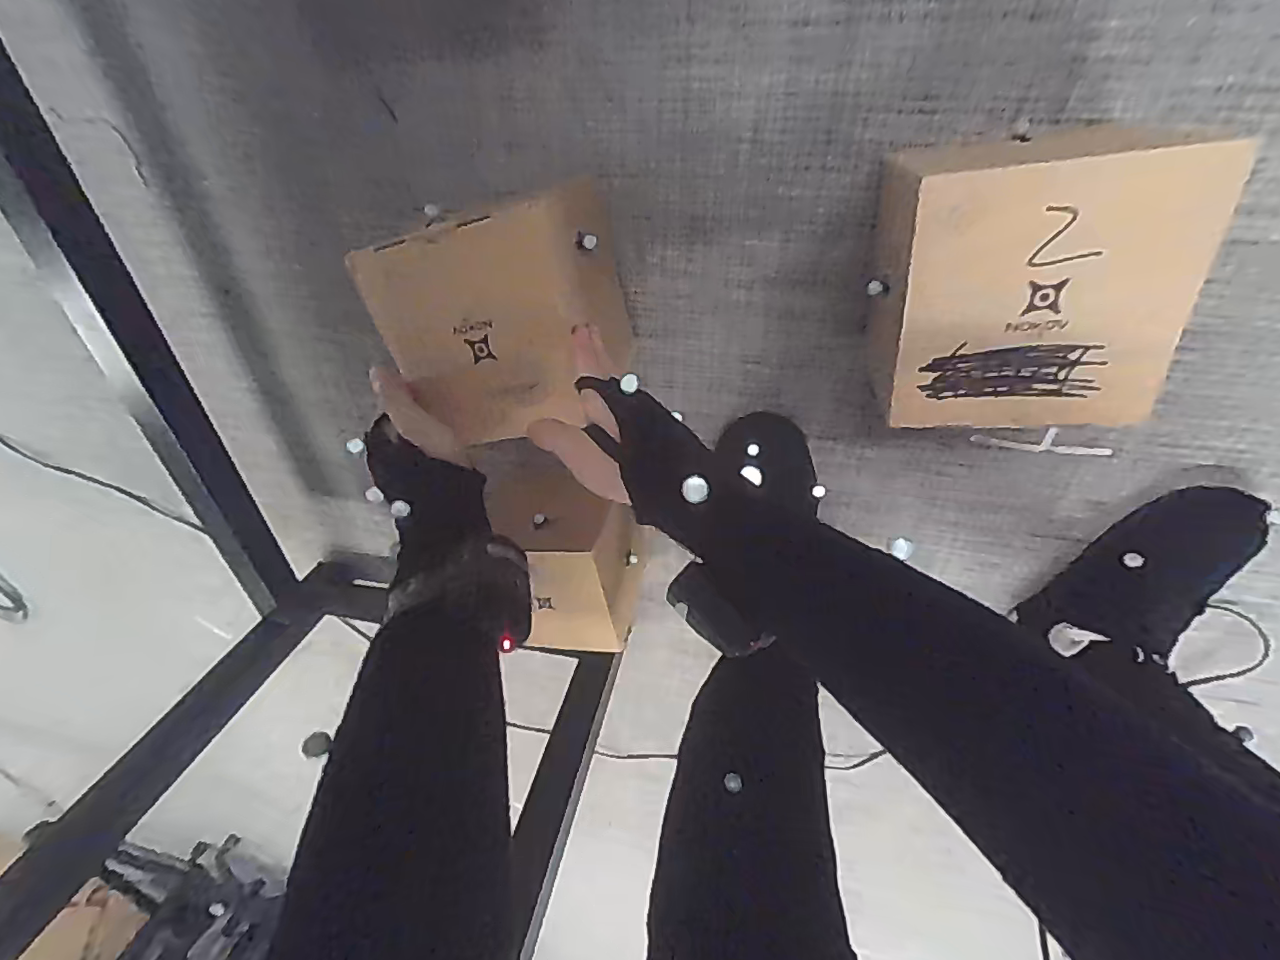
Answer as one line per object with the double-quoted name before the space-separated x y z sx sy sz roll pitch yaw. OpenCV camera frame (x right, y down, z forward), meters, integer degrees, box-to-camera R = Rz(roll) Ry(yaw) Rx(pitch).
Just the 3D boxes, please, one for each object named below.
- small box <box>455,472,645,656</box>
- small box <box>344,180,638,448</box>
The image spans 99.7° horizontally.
"small box" -0.097 0.099 0.690 0.179 0.176 0.168 0 123 16
"small box" -0.111 -0.155 0.489 0.168 0.176 0.179 -8 123 17
